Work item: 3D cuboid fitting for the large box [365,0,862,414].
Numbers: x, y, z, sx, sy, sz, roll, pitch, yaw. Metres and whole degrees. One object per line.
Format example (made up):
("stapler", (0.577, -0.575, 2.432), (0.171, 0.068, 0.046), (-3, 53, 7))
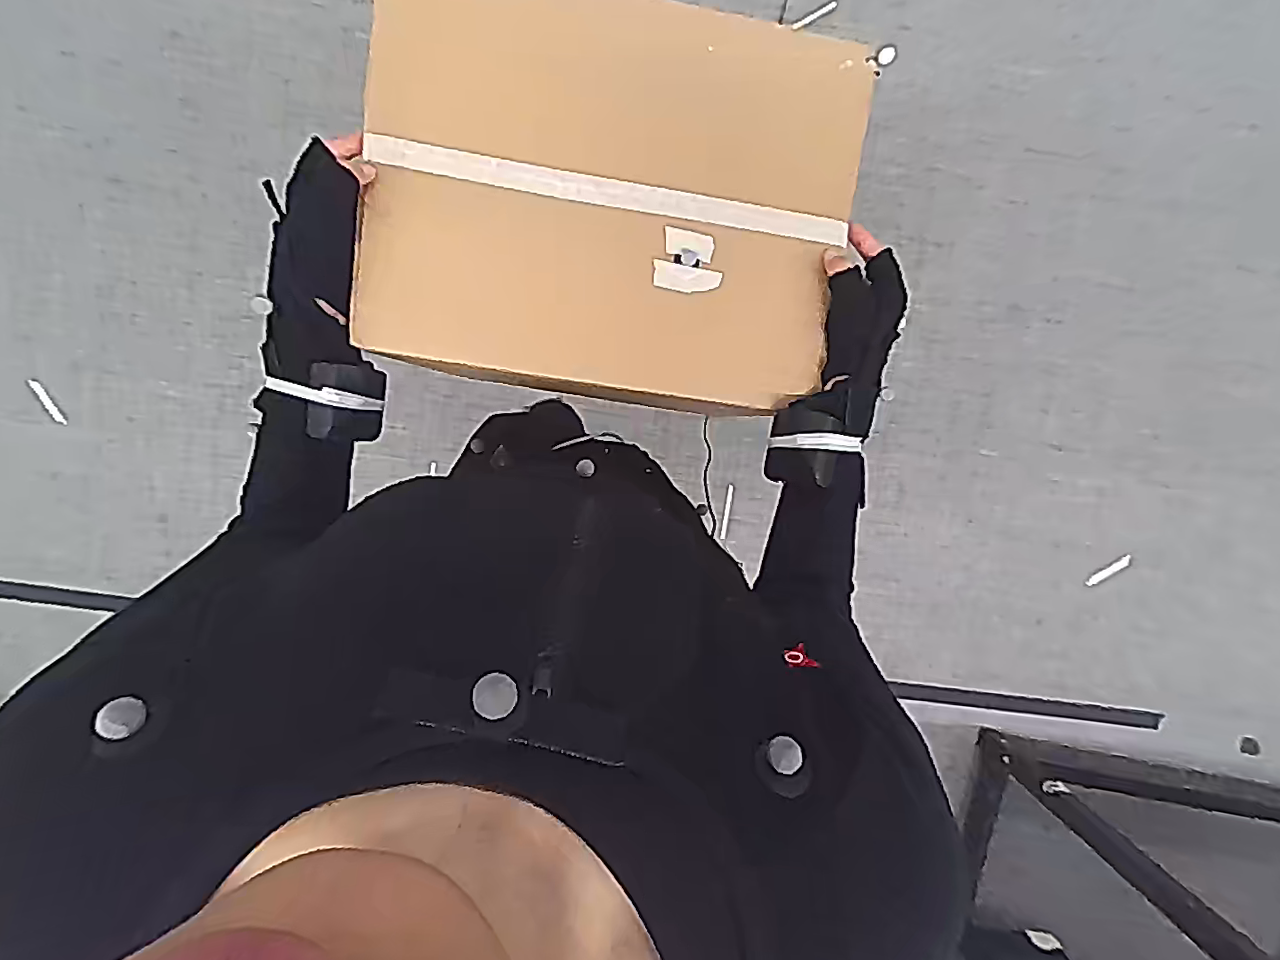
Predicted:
("large box", (-0.037, -0.254, 0.611), (0.408, 0.320, 0.320), (8, 97, -7))
